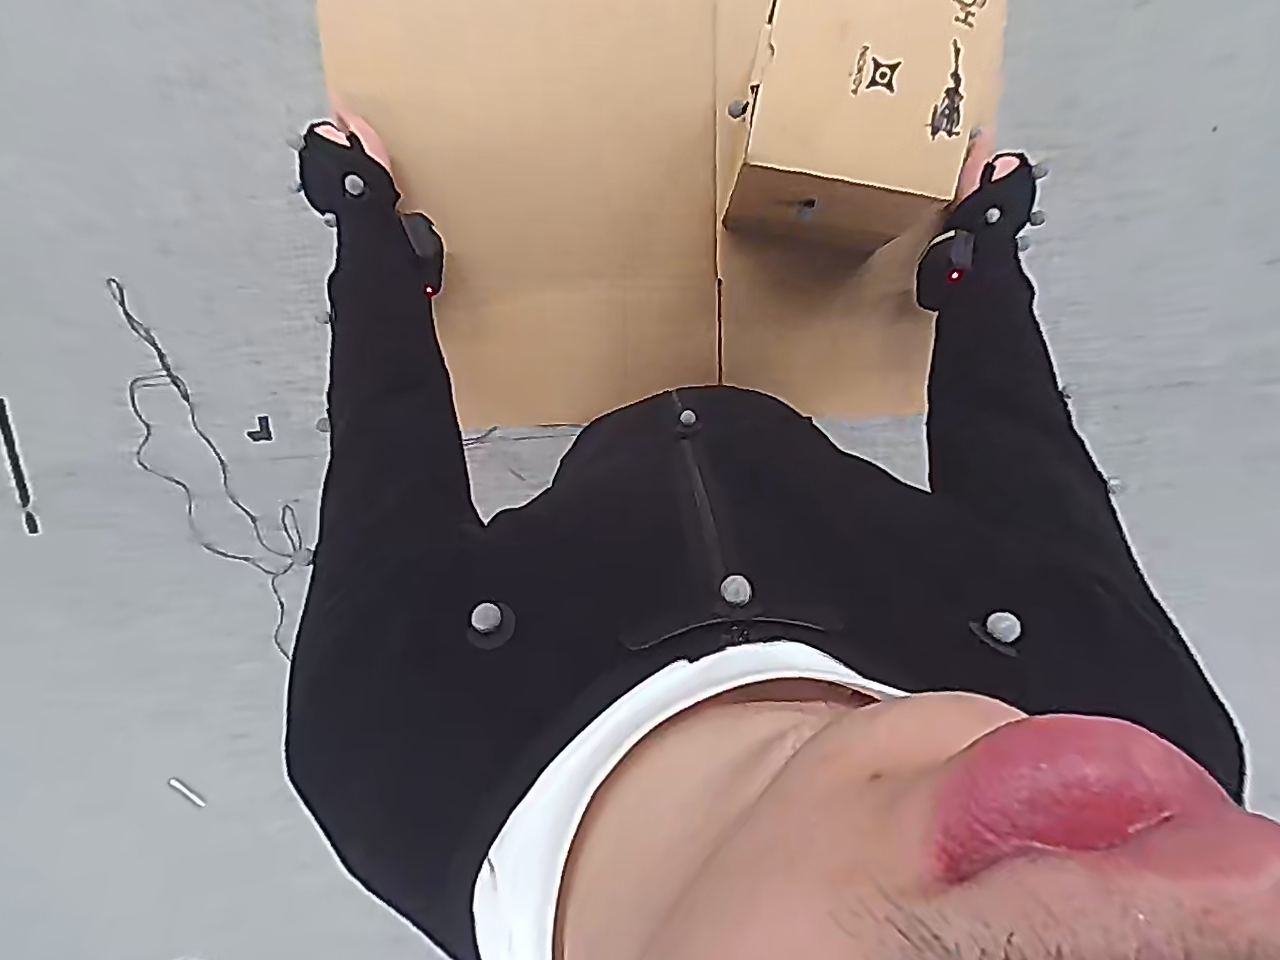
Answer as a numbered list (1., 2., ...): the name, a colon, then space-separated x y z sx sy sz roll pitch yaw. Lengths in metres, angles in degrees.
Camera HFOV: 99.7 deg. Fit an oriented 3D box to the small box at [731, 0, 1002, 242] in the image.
1. small box: 0.191 -0.342 0.511 0.179 0.176 0.168 11 100 2
